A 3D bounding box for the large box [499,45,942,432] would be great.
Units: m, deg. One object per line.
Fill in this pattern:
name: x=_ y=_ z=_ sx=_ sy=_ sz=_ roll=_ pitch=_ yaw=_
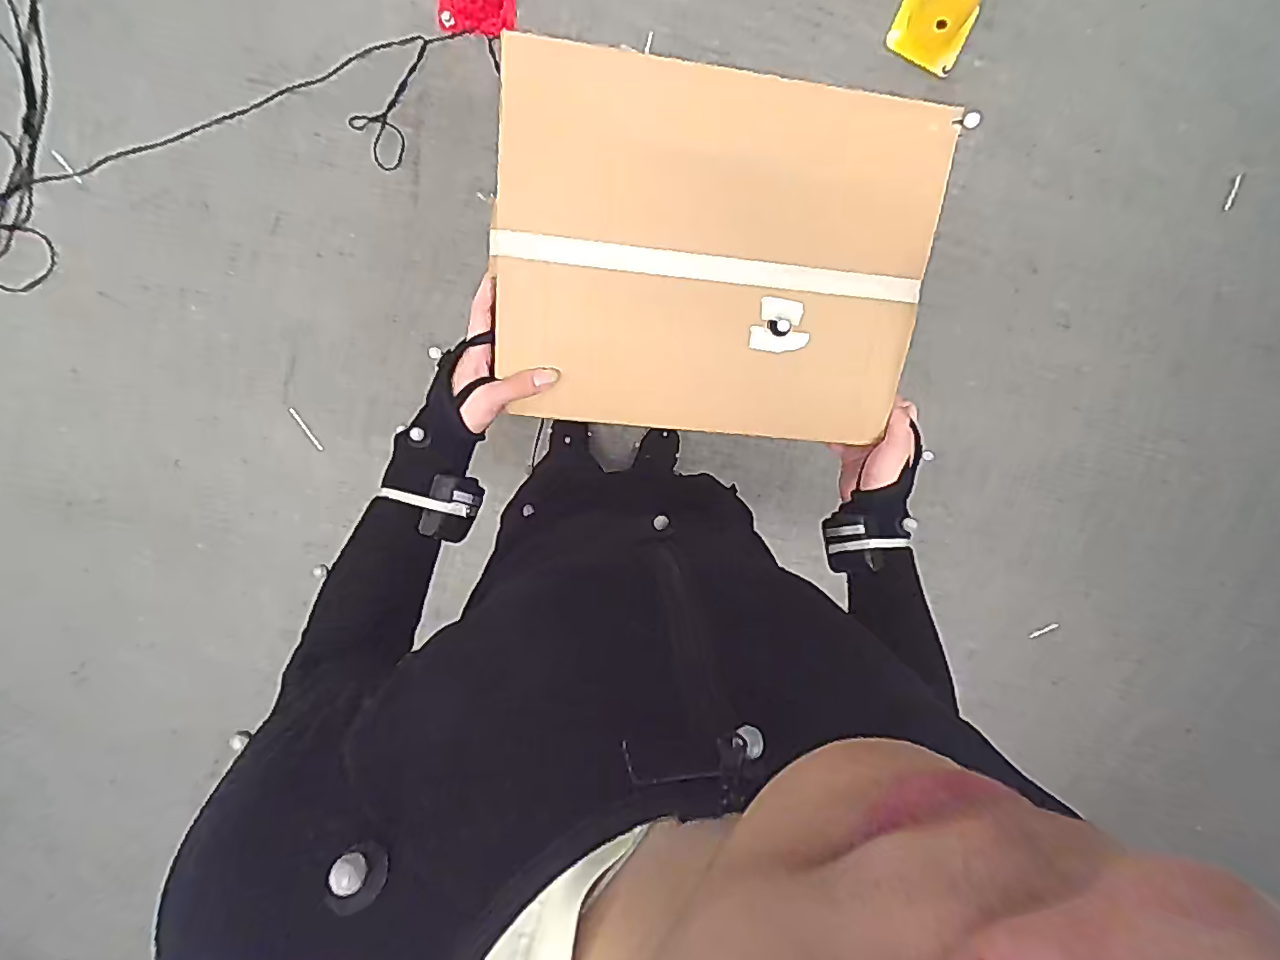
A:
large box: x=0.052 y=-0.250 z=0.653 sx=0.408 sy=0.320 sz=0.320 roll=3 pitch=108 yaw=-8
